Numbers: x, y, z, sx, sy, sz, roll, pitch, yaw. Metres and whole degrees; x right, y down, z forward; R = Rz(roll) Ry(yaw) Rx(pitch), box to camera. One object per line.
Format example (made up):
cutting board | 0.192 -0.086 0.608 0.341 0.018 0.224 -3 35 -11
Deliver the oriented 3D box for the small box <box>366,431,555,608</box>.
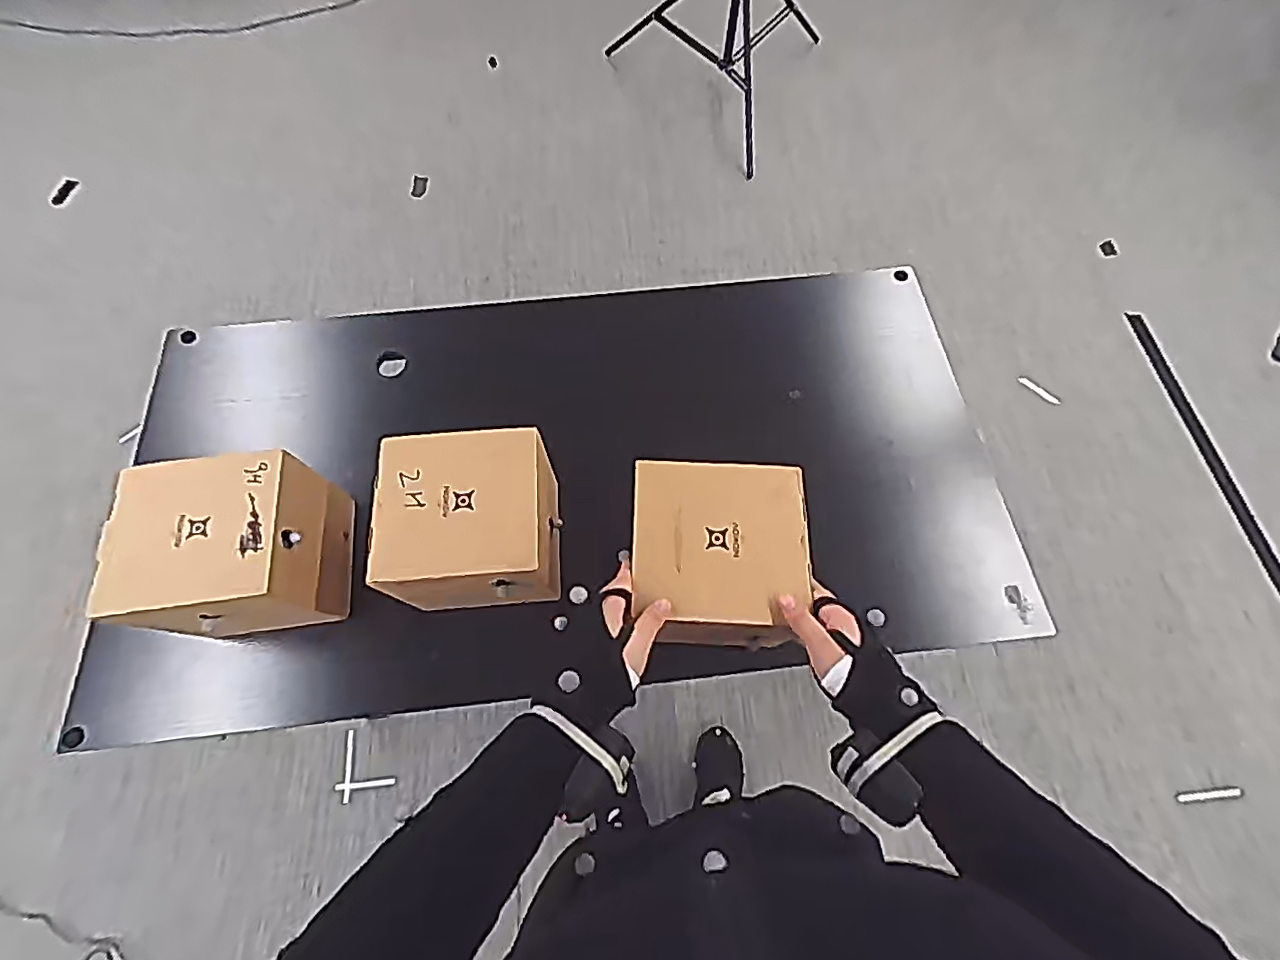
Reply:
small box | -0.197 0.055 0.651 0.179 0.176 0.168 -4 67 -2

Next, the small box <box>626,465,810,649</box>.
small box | 0.075 0.094 0.610 0.179 0.176 0.168 1 65 1

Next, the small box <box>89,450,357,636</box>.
small box | -0.468 0.083 0.640 0.179 0.176 0.168 -8 68 -3
